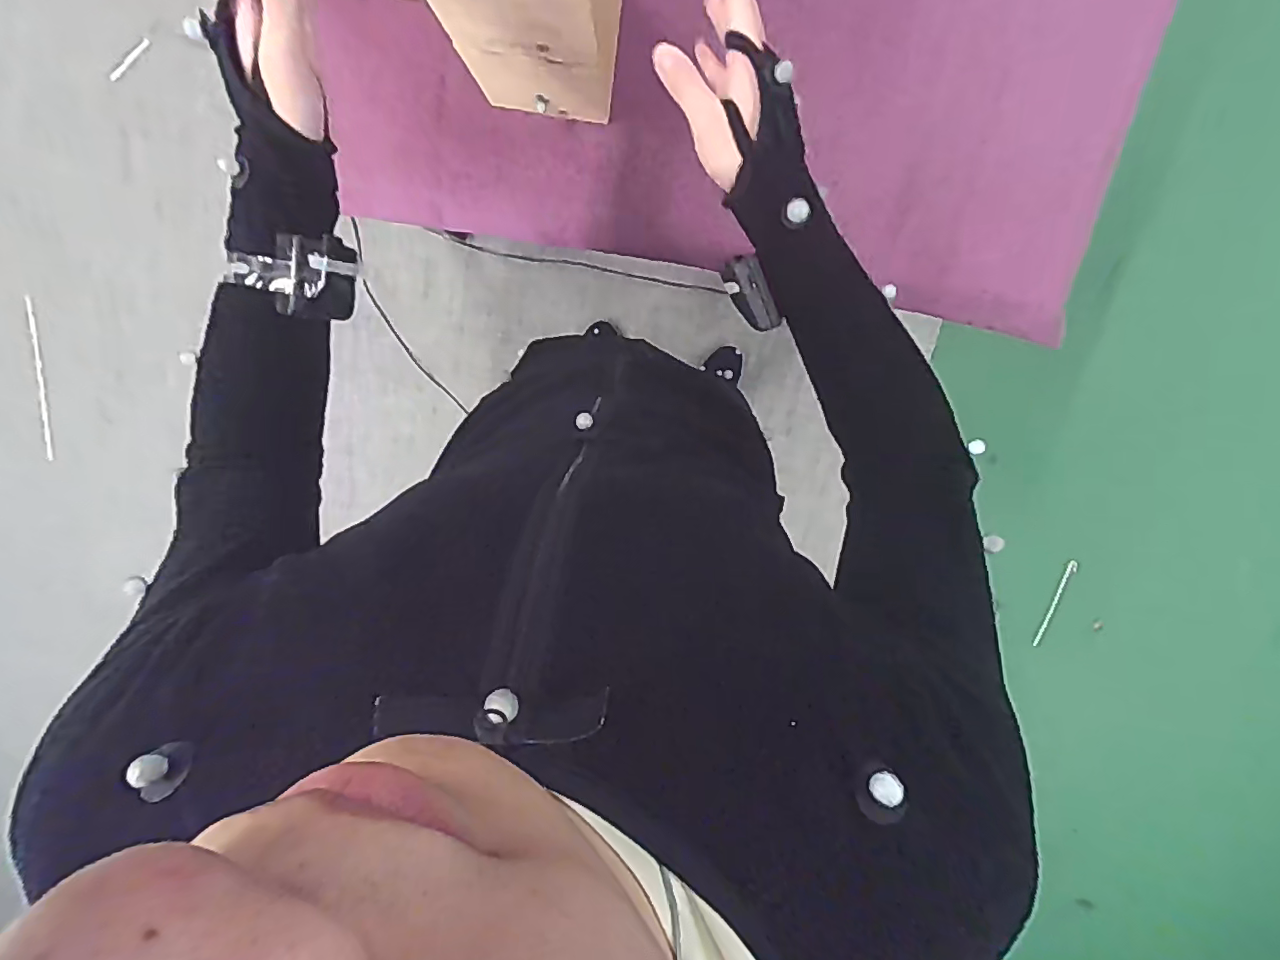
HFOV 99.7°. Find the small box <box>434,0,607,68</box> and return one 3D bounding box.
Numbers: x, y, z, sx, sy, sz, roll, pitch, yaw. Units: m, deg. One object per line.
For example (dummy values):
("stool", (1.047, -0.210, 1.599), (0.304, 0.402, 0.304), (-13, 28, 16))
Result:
("small box", (-0.112, -0.525, 0.492), (0.168, 0.176, 0.179), (8, 105, -2))

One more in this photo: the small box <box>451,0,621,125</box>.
("small box", (-0.114, -0.566, 0.650), (0.168, 0.176, 0.179), (8, 106, -2))
